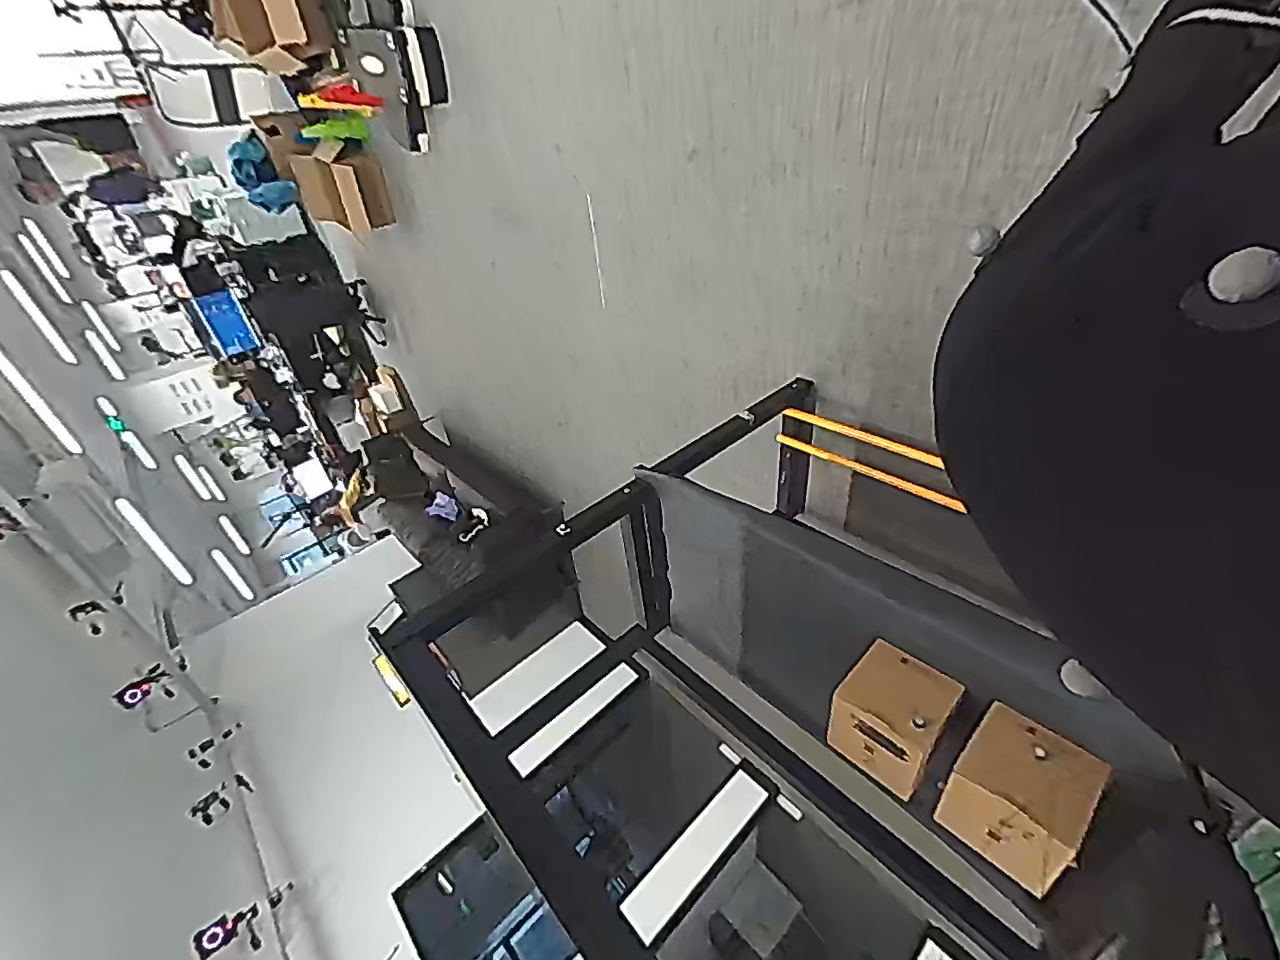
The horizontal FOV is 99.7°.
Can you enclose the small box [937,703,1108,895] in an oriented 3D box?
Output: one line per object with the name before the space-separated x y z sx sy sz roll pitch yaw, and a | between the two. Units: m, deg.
small box | 0.620 0.512 0.883 0.168 0.176 0.179 28 138 41
